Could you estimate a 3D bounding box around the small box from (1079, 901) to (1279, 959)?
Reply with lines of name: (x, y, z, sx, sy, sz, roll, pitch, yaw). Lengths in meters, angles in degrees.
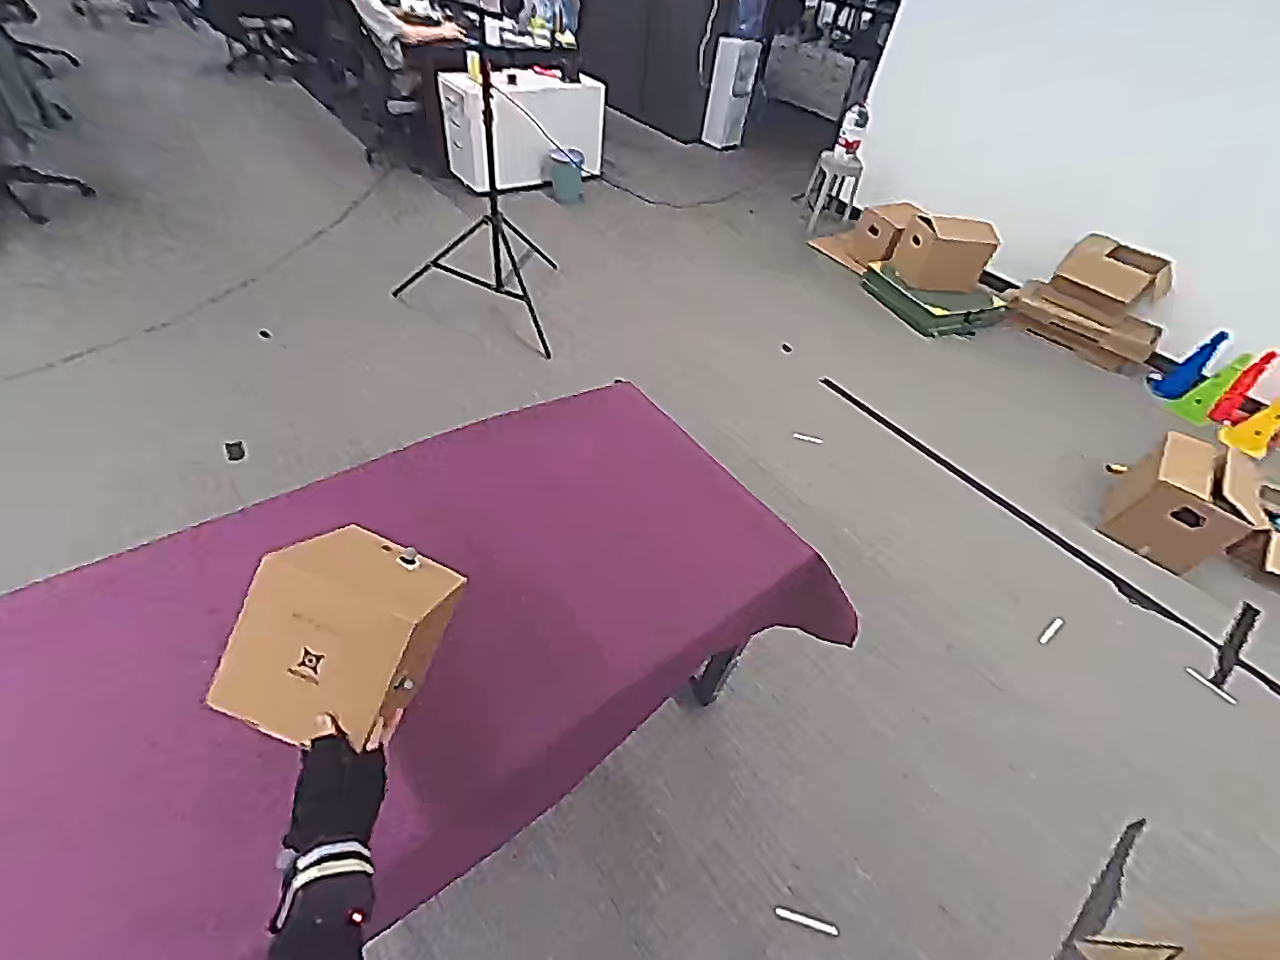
small box: (0.370, 0.334, 0.274, 0.168, 0.179, 0.176, -25, 52, 17)

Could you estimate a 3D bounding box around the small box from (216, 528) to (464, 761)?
small box: (-0.332, 0.177, 0.635, 0.168, 0.179, 0.176, 25, 4, -2)
